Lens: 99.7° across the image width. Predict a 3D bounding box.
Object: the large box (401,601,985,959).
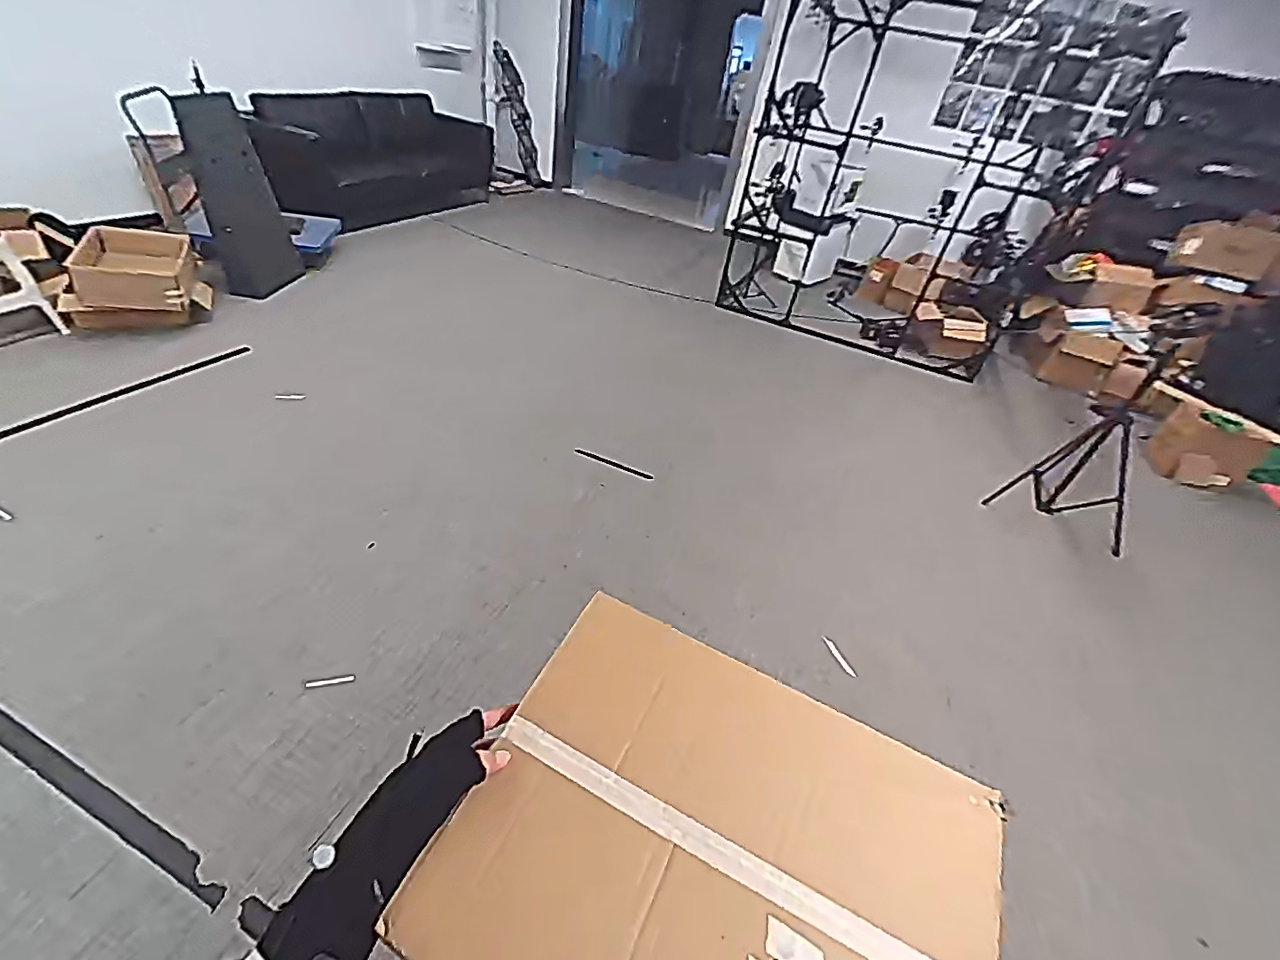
[{"bbox_3d":[0.051,0.398,0.545,0.408,0.320,0.320,24,49,15],"label":"large box"}]
